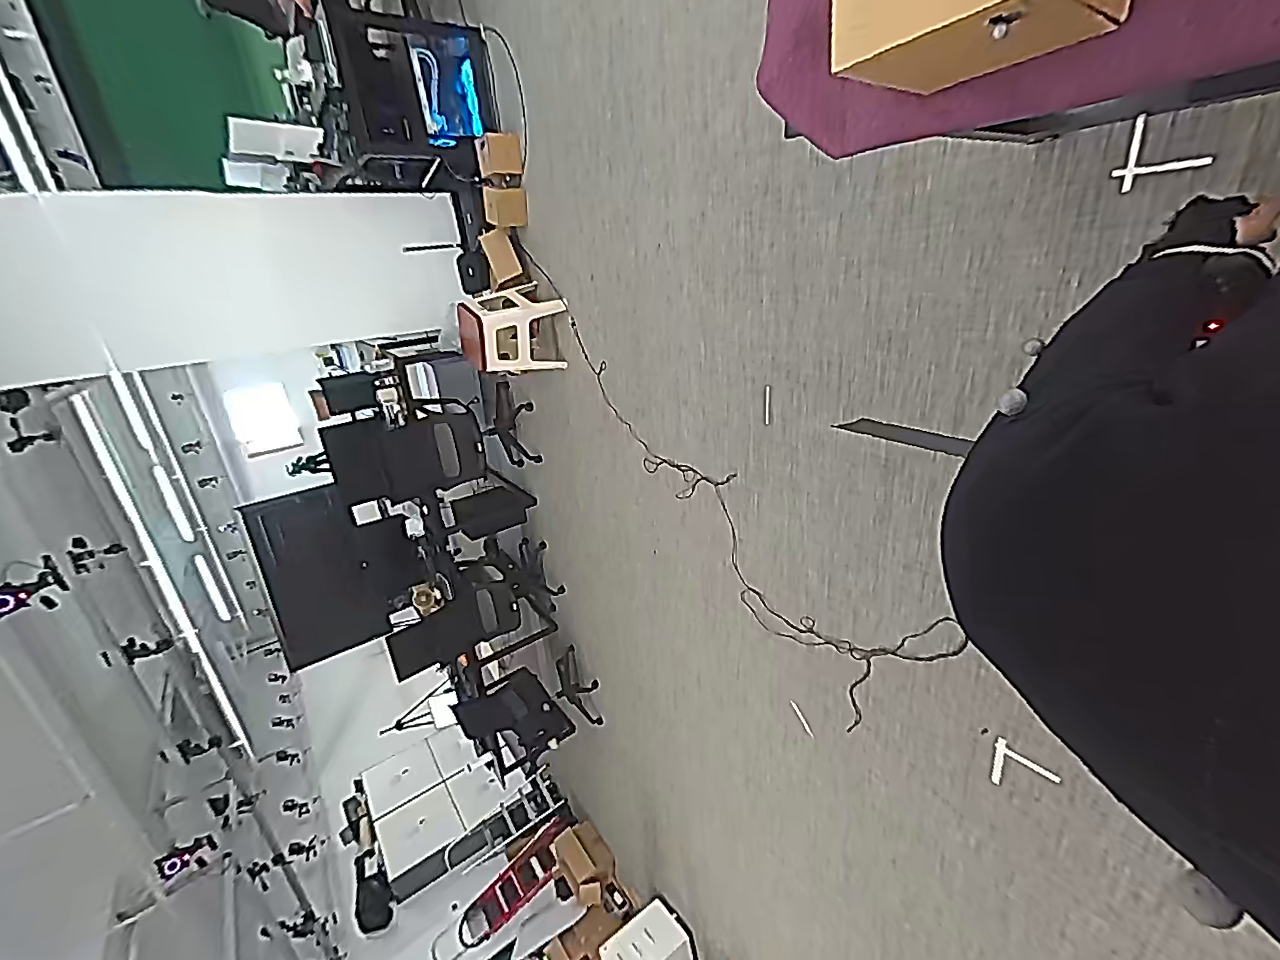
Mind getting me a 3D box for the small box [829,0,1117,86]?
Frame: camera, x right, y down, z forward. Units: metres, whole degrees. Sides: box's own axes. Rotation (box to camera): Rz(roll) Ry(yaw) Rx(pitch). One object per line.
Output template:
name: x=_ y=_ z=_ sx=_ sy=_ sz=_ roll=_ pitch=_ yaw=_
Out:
small box: x=0.287 y=-0.466 z=0.461 sx=0.179 sy=0.176 sz=0.168 roll=19 pitch=121 yaw=51
